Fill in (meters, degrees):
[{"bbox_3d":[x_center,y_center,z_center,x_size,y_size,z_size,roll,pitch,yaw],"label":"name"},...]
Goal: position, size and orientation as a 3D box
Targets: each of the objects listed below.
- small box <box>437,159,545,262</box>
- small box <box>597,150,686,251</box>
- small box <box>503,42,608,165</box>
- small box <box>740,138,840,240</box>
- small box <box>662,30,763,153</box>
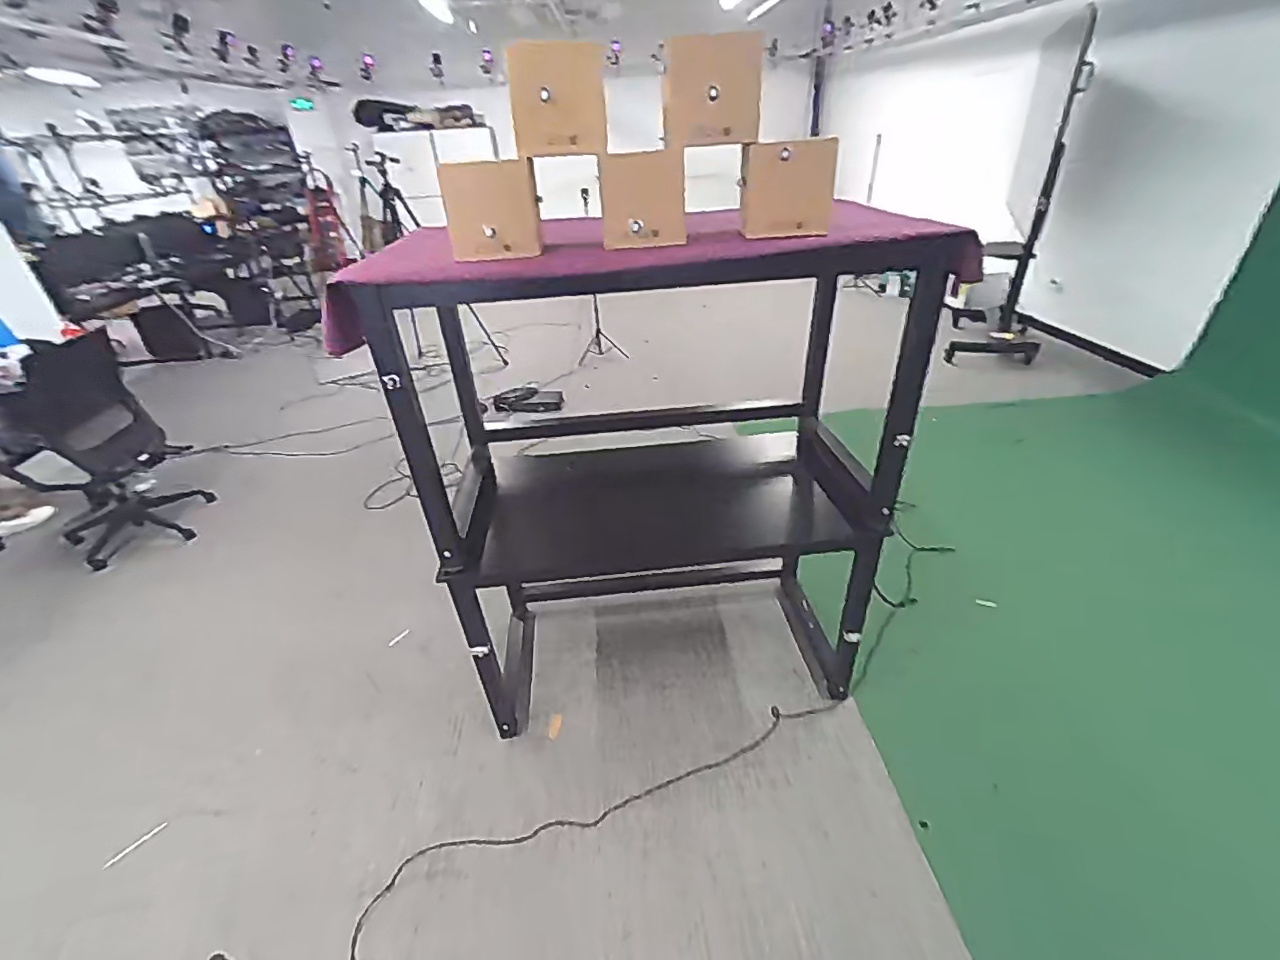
[{"bbox_3d":[-0.284,-0.534,1.071,0.168,0.176,0.179,-6,33,-3],"label":"small box"},{"bbox_3d":[0.004,-0.569,1.103,0.168,0.176,0.179,-5,32,0],"label":"small box"},{"bbox_3d":[-0.155,-0.694,1.011,0.168,0.176,0.179,-7,31,-7],"label":"small box"},{"bbox_3d":[0.297,-0.594,1.109,0.168,0.176,0.179,-2,31,5],"label":"small box"},{"bbox_3d":[0.132,-0.725,1.025,0.168,0.176,0.179,-4,31,0],"label":"small box"}]
